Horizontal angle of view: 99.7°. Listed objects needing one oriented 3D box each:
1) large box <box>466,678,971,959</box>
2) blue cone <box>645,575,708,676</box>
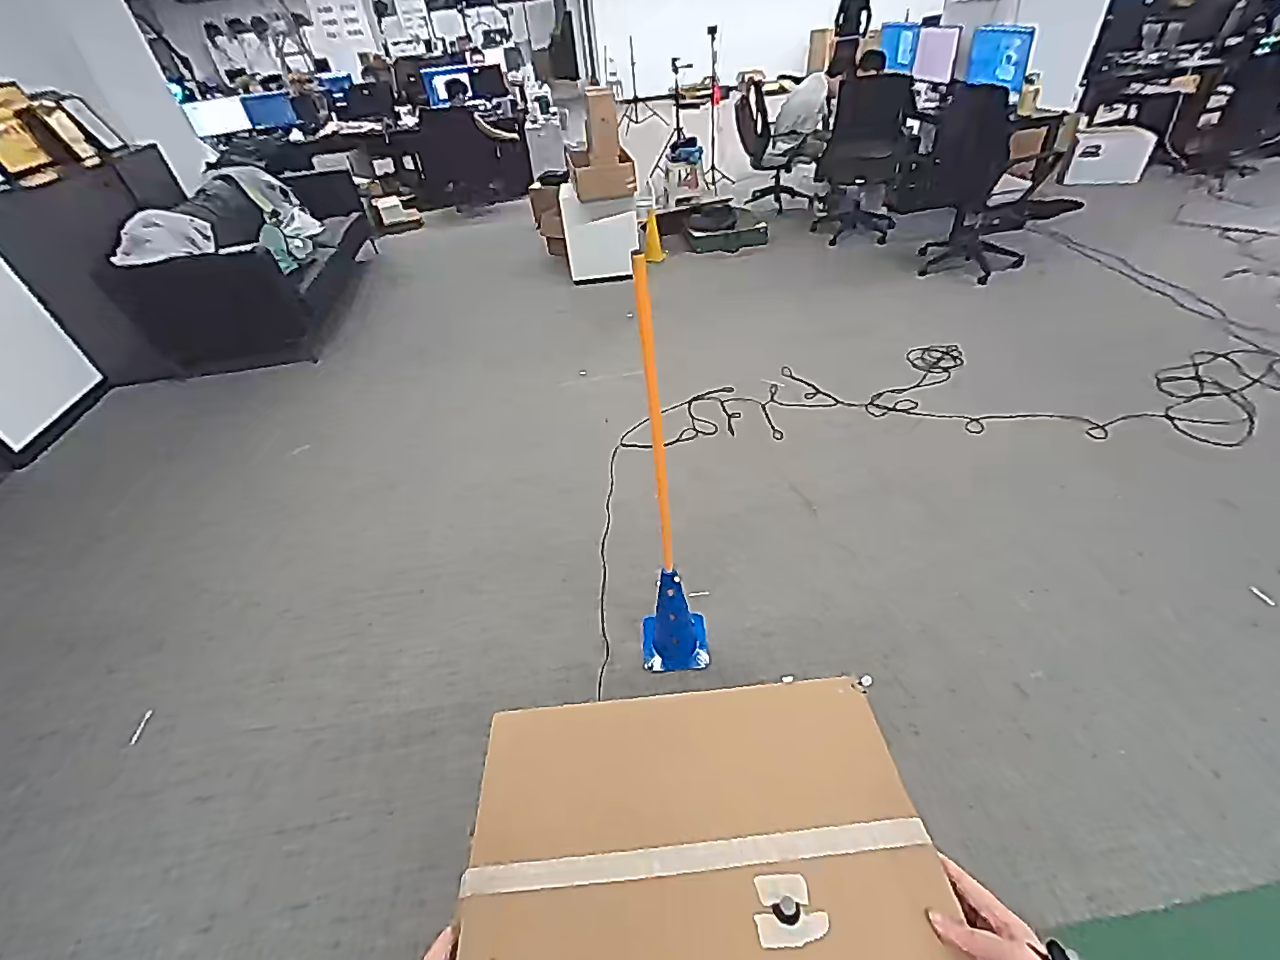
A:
[{"bbox_3d":[0.058,0.453,0.572,0.408,0.320,0.320,-5,38,-2],"label":"large box"},{"bbox_3d":[0.098,0.405,1.602,0.193,0.380,0.192,-4,41,3],"label":"blue cone"}]
